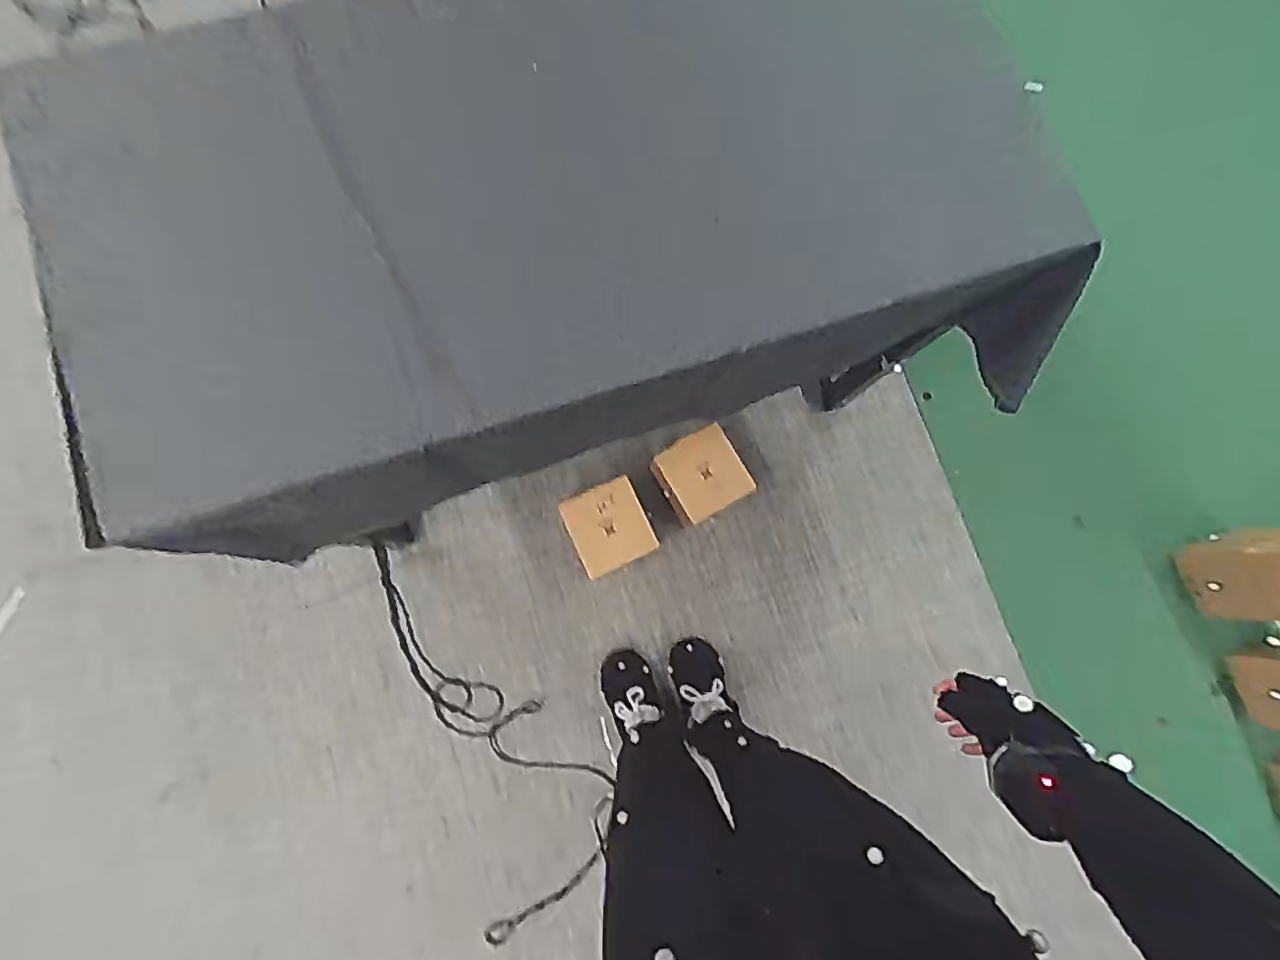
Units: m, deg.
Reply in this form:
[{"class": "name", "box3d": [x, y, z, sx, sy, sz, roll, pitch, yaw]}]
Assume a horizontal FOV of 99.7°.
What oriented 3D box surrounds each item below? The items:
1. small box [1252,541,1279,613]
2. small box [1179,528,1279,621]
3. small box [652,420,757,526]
[{"class": "small box", "box3d": [1.440, 0.197, 1.104, 0.168, 0.176, 0.179, -20, 83, -5]}, {"class": "small box", "box3d": [1.432, 0.218, 1.266, 0.179, 0.176, 0.168, -19, 83, -4]}, {"class": "small box", "box3d": [0.140, -0.008, 1.248, 0.168, 0.176, 0.179, -30, 83, -7]}]
